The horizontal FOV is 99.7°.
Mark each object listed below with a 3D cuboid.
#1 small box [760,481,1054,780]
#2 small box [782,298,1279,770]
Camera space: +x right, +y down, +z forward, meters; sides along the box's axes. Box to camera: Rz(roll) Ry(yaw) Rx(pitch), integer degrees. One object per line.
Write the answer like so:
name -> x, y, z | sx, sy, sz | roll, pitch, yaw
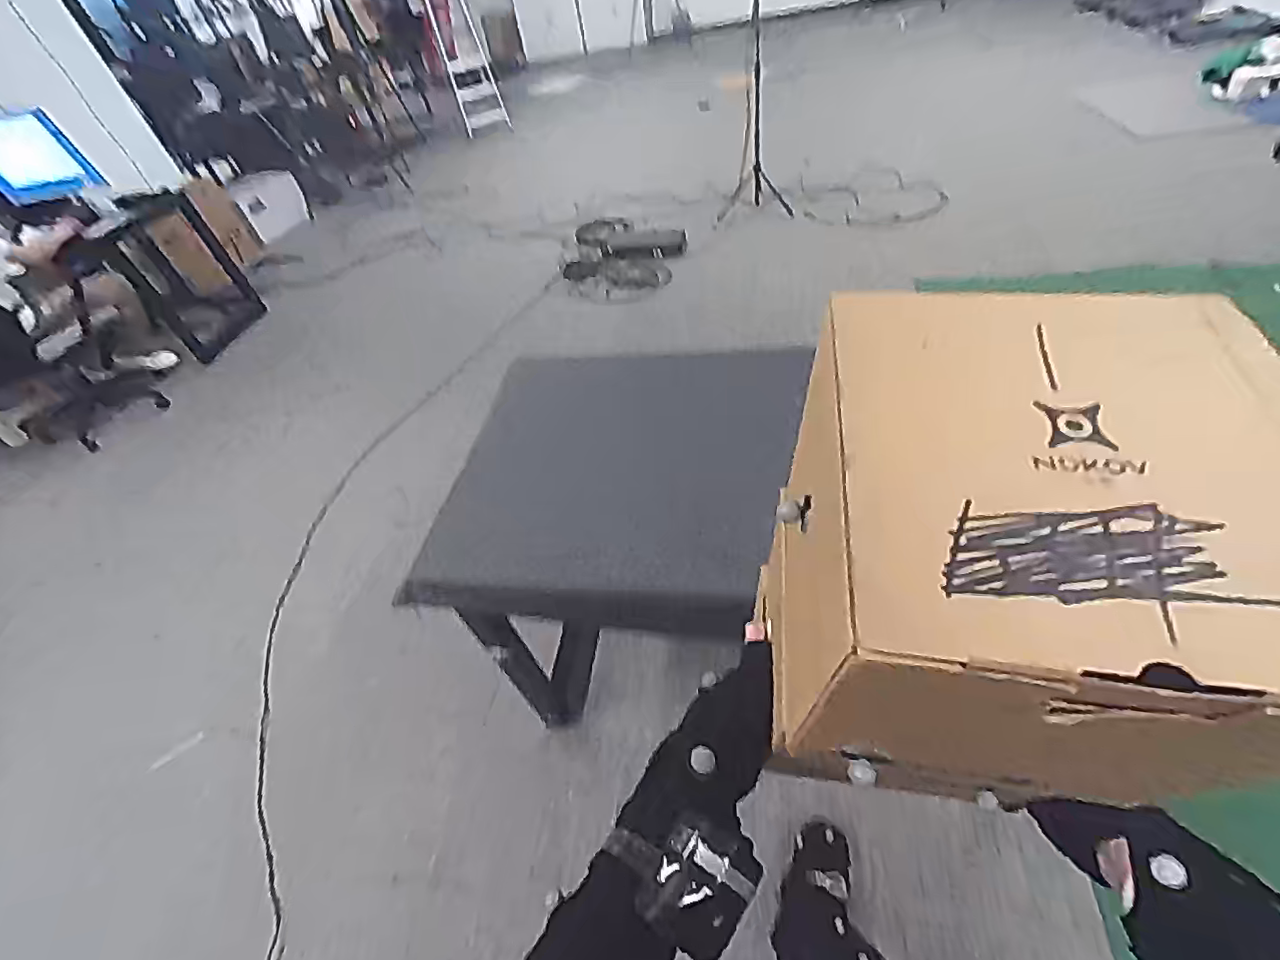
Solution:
small box -> 0.187, 0.114, 0.395 | 0.179, 0.176, 0.168 | 0, 55, 7
small box -> 0.166, 0.031, 0.273 | 0.168, 0.176, 0.179 | 4, 54, 10
